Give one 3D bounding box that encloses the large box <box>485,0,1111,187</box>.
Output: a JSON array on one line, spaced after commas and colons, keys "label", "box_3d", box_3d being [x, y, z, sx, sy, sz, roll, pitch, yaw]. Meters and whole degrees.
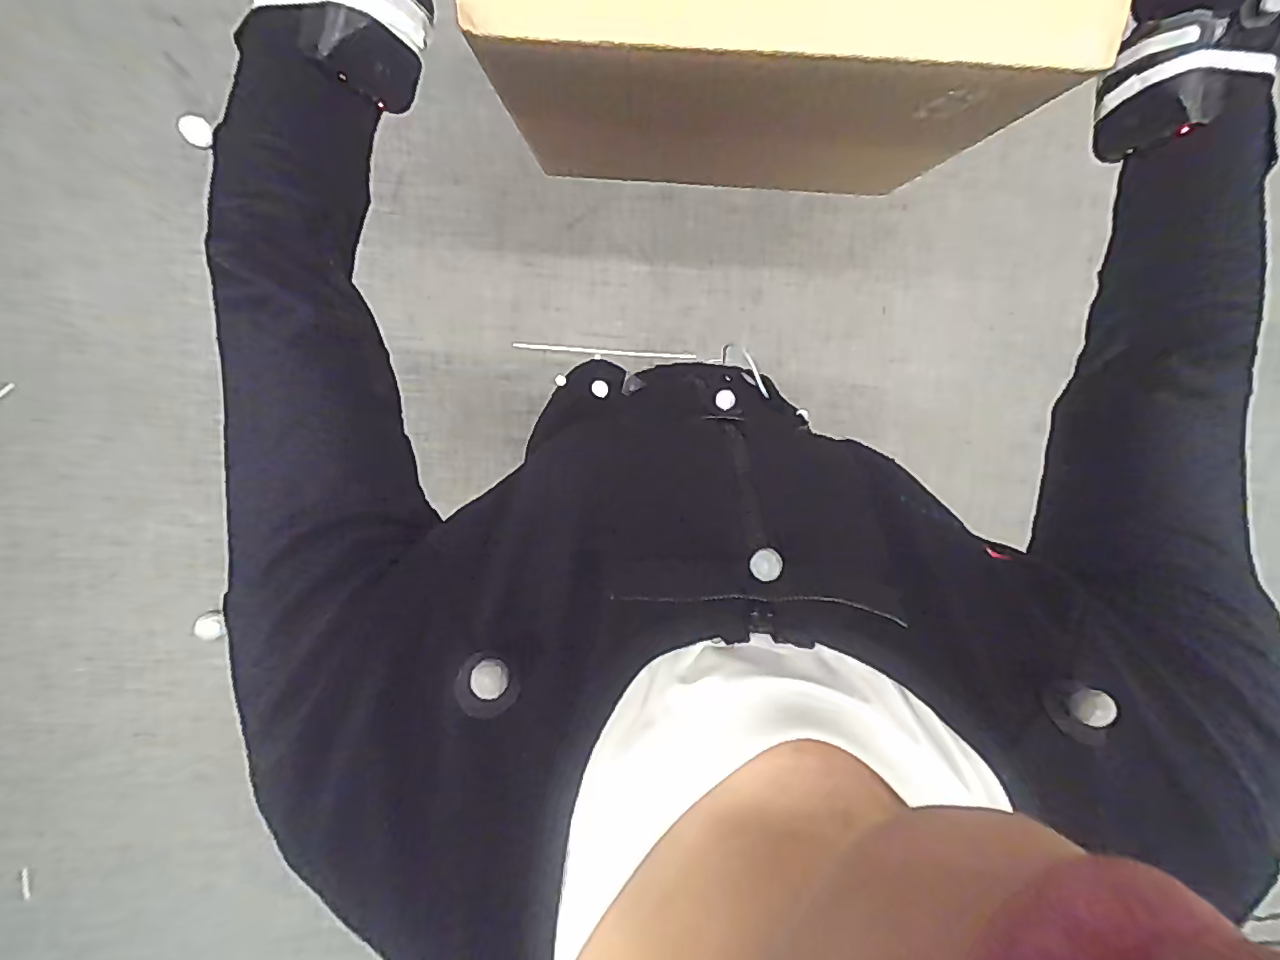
[{"label": "large box", "box_3d": [0.099, -0.458, 0.451, 0.408, 0.320, 0.320, 2, 105, -2]}]
